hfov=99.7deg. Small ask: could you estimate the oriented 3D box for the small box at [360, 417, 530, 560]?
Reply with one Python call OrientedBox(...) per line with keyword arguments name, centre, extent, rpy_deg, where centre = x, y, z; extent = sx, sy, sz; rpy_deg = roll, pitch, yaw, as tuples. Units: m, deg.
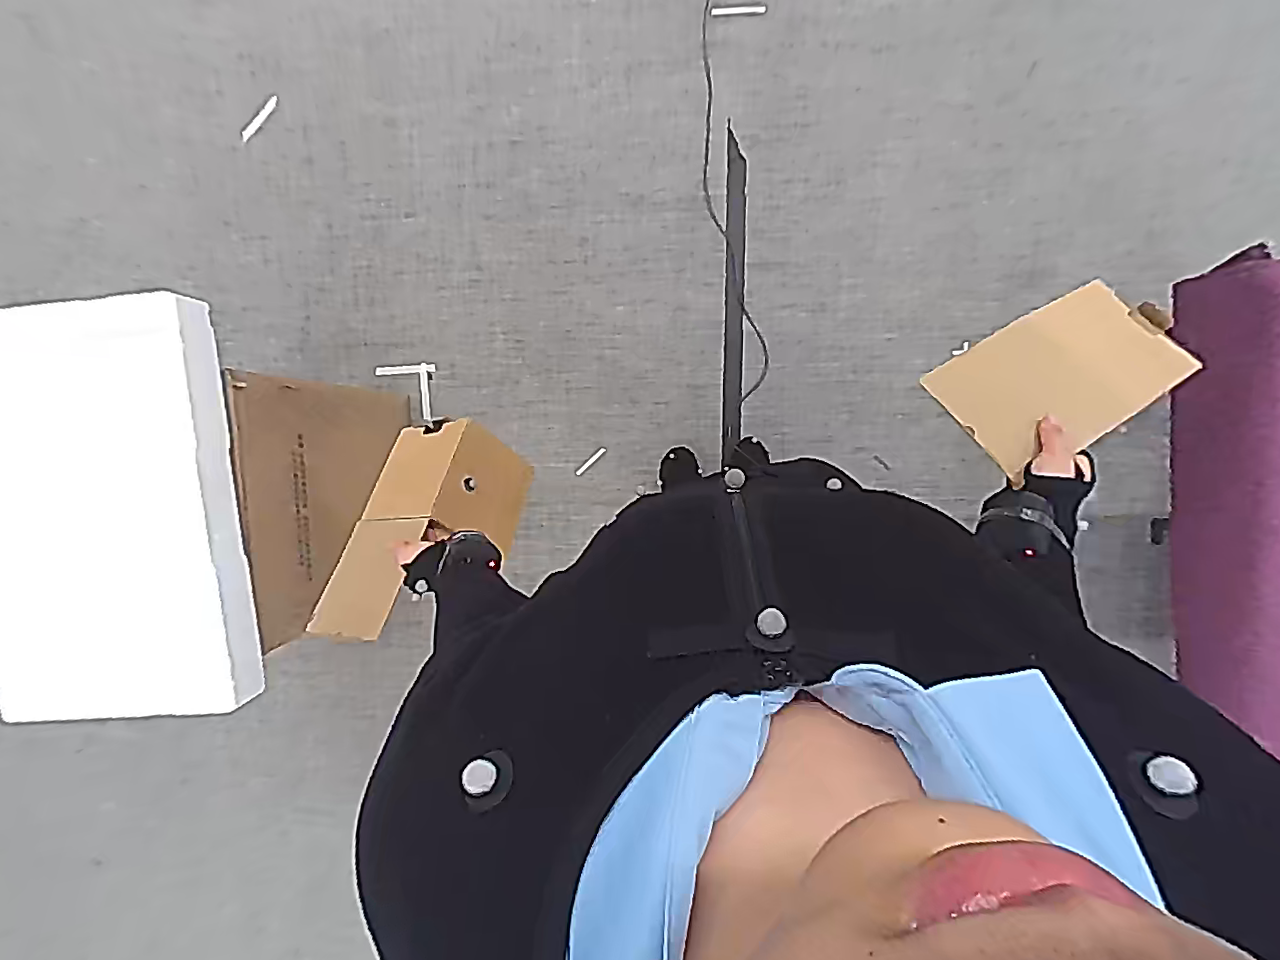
OrientedBox(name="small box", centre=(-0.306, 0.023, 0.882), extent=(0.168, 0.176, 0.179), rpy_deg=(-4, 58, 29))
